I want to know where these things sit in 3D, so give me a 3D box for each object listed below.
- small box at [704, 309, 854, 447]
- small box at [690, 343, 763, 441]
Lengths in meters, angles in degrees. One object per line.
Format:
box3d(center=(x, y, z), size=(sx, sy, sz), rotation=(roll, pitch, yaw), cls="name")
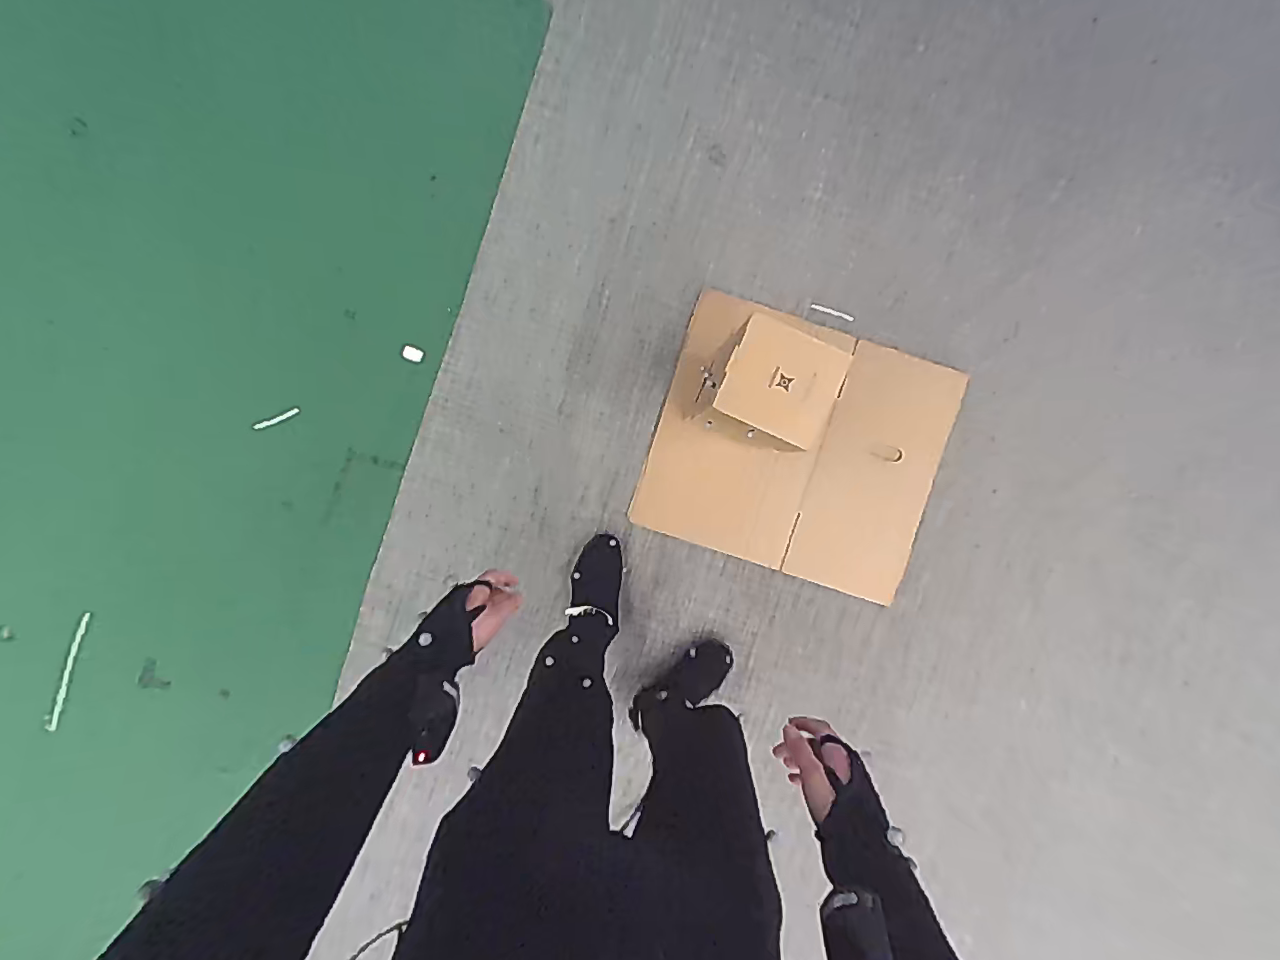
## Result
box3d(center=(0.222, -0.160, 0.919), size=(0.179, 0.176, 0.168), rotation=(24, 93, -1), cls="small box")
box3d(center=(0.226, -0.192, 1.245), size=(0.179, 0.176, 0.168), rotation=(22, 93, -1), cls="small box")
